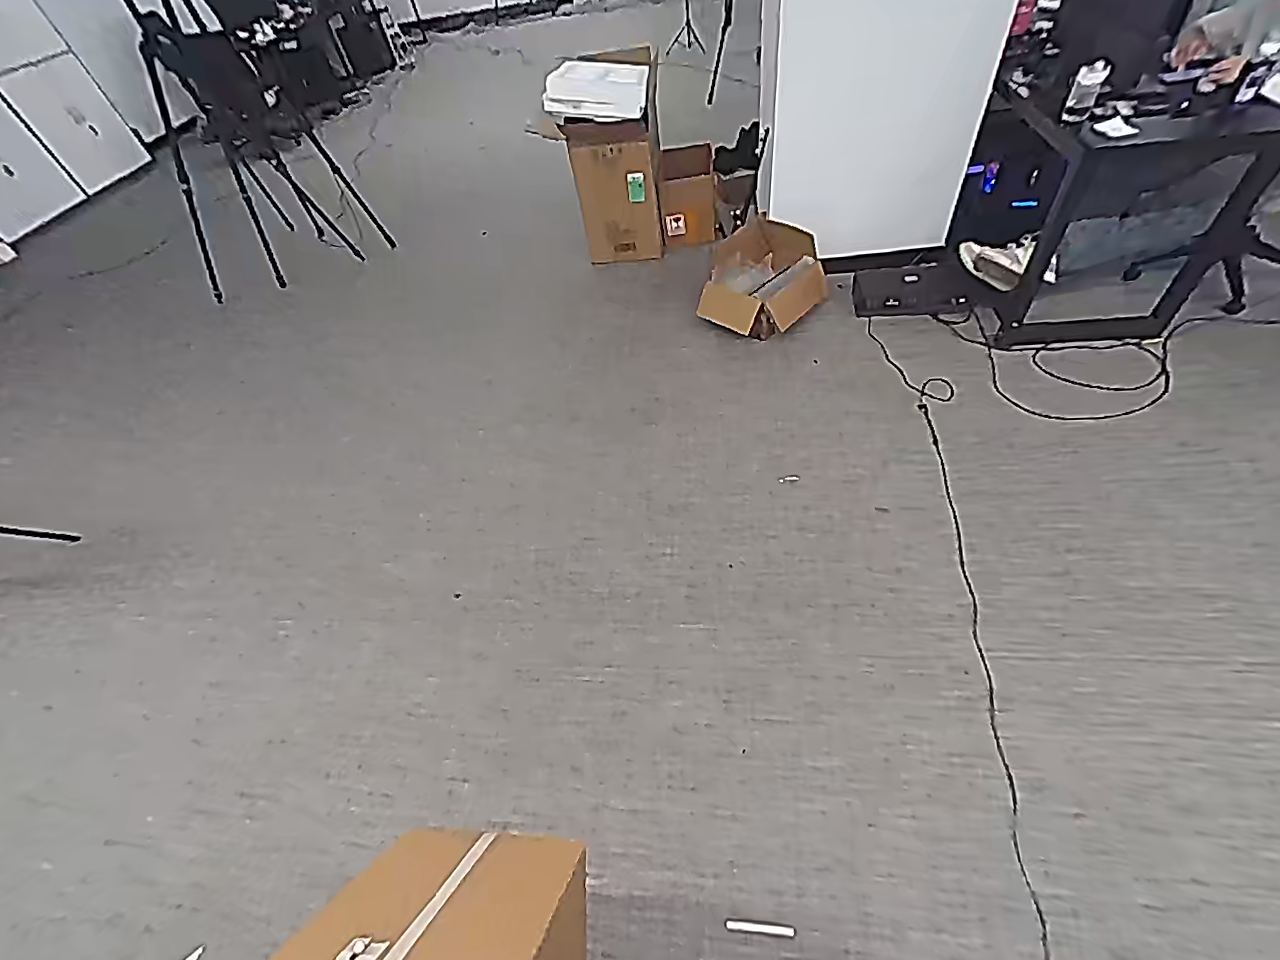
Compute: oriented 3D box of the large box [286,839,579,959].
[{"bbox_3d":[-0.274,0.738,0.684,0.320,0.408,0.320,-3,85,10],"label":"large box"}]
